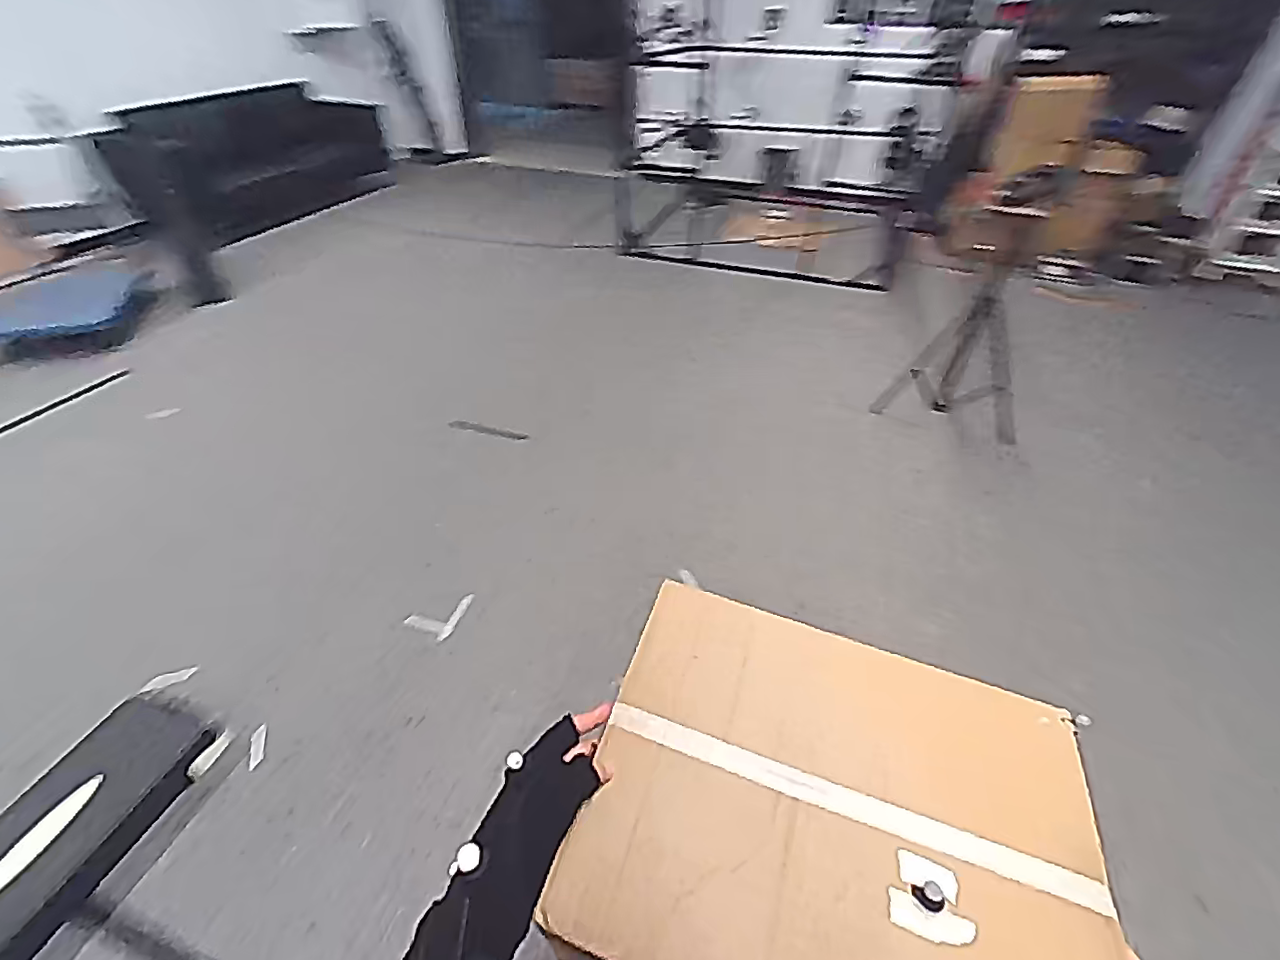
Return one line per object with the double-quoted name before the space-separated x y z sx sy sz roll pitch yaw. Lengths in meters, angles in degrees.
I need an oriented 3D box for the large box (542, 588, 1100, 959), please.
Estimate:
"large box" 0.148 0.372 0.563 0.408 0.320 0.320 16 46 10
